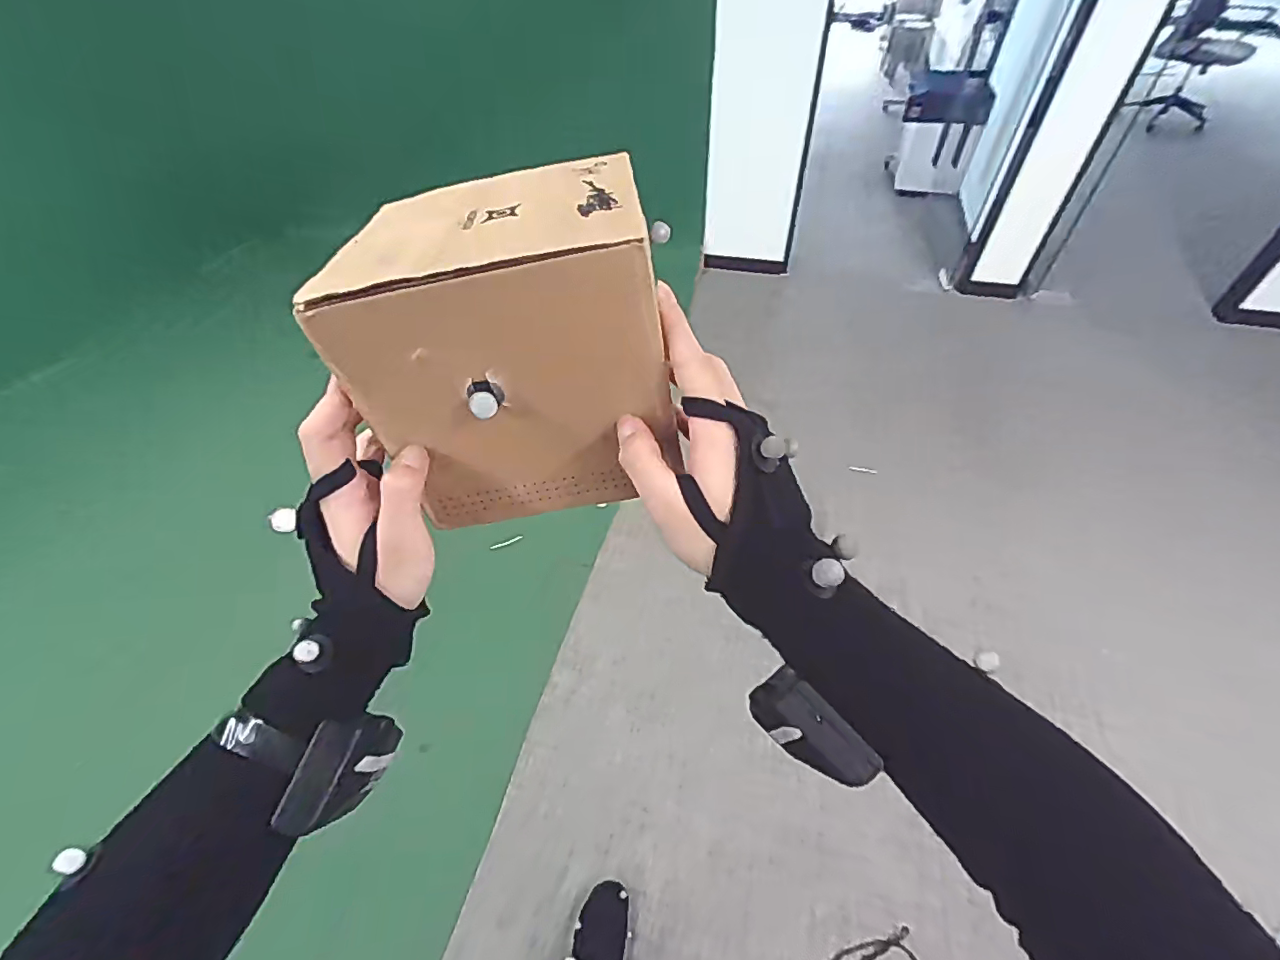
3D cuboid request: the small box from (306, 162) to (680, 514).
[{"bbox_3d":[-0.076,-0.094,0.379,0.179,0.176,0.168,-10,43,5],"label":"small box"}]
